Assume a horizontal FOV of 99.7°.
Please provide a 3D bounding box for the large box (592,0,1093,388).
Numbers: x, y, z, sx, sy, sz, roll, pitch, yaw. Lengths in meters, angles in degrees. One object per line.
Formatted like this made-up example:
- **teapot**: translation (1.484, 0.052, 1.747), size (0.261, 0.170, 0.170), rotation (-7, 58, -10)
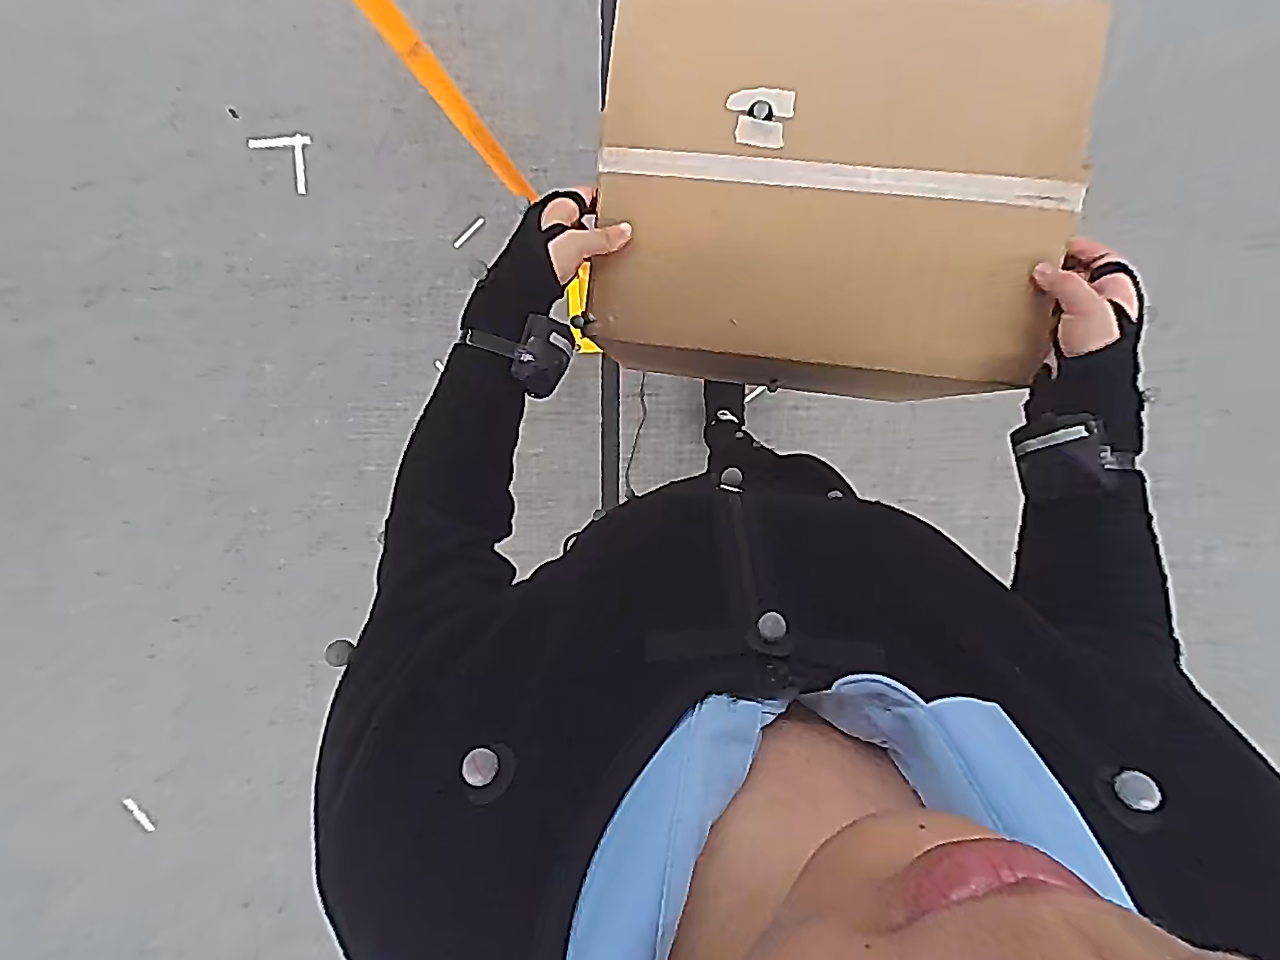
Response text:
- **large box**: translation (0.183, -0.285, 0.628), size (0.408, 0.320, 0.320), rotation (7, 95, 6)
